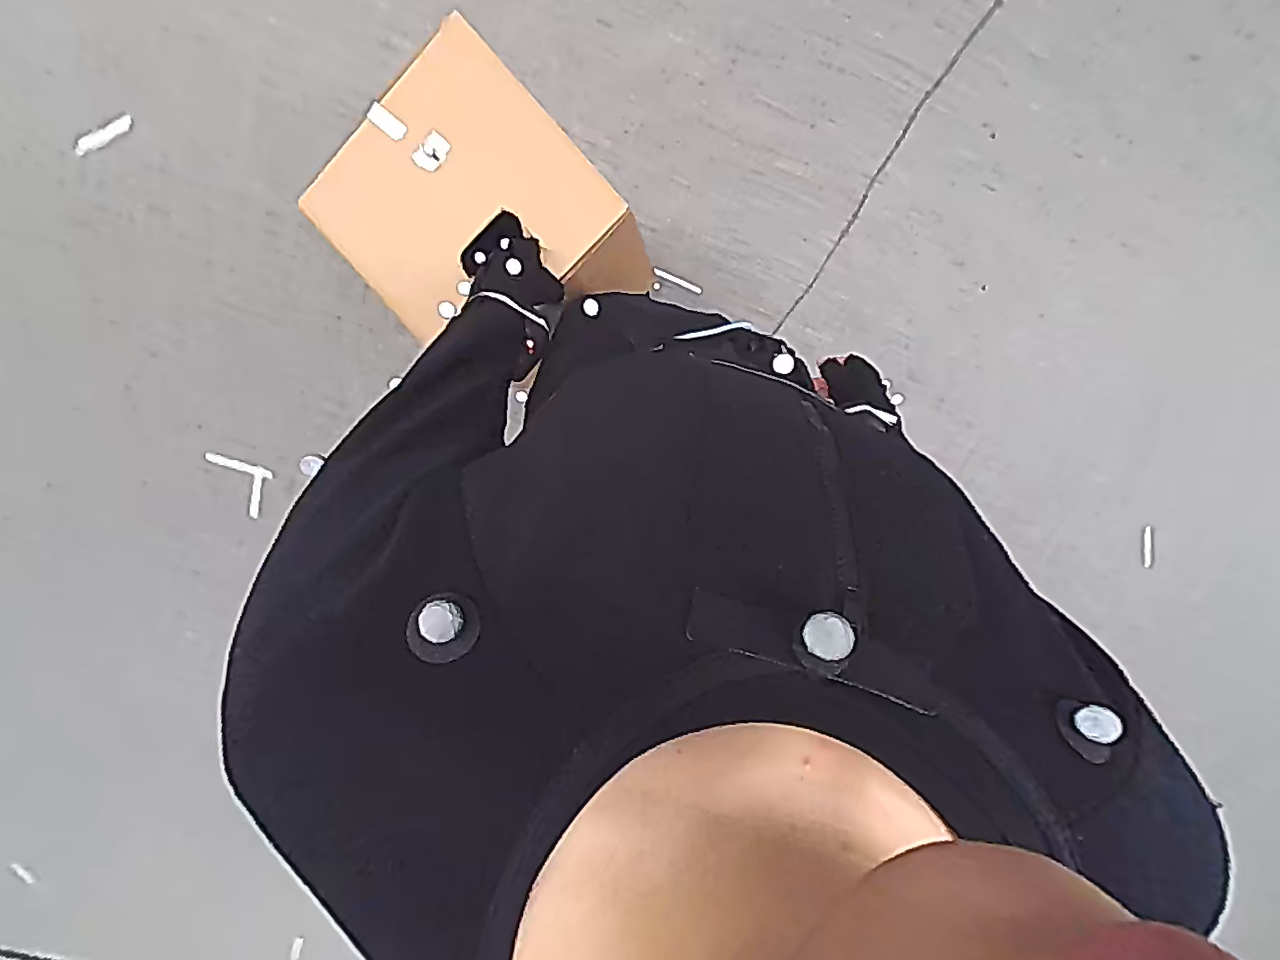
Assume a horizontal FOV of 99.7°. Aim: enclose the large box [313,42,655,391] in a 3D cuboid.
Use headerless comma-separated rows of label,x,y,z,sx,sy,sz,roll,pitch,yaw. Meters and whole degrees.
large box,-0.206,-0.365,0.878,0.320,0.408,0.320,-41,93,11
